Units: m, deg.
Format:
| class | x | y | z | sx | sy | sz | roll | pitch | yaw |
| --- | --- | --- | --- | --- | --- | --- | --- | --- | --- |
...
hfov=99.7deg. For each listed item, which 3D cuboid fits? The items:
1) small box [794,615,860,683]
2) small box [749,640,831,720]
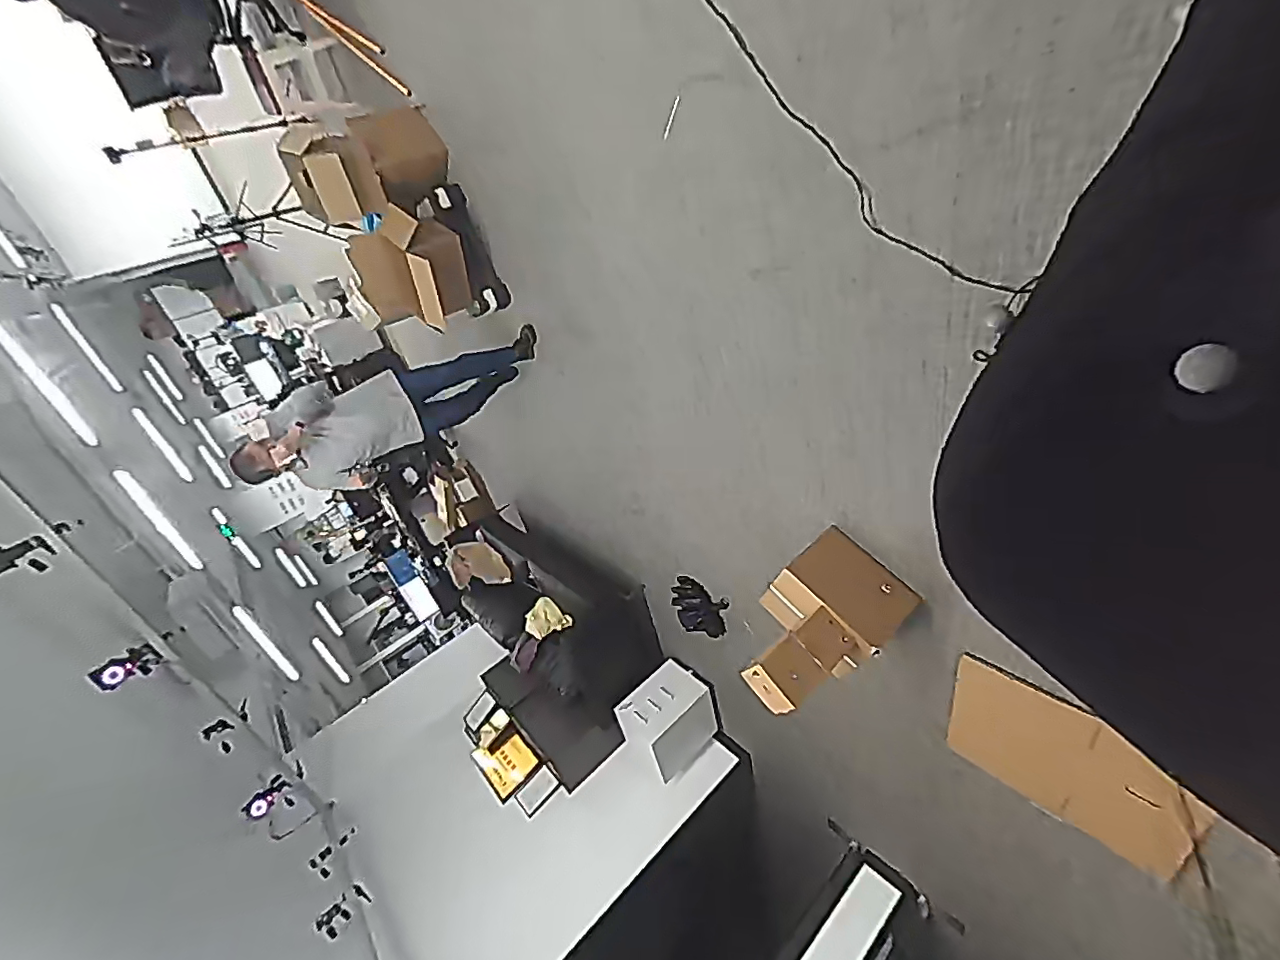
| class | x | y | z | sx | sy | sz | roll | pitch | yaw |
| --- | --- | --- | --- | --- | --- | --- | --- | --- | --- |
| small box | 0.634 | 0.598 | 1.890 | 0.168 | 0.176 | 0.179 | 48 | 151 | 17 |
| small box | 0.508 | 0.676 | 1.827 | 0.179 | 0.176 | 0.168 | 48 | 152 | 19 |
